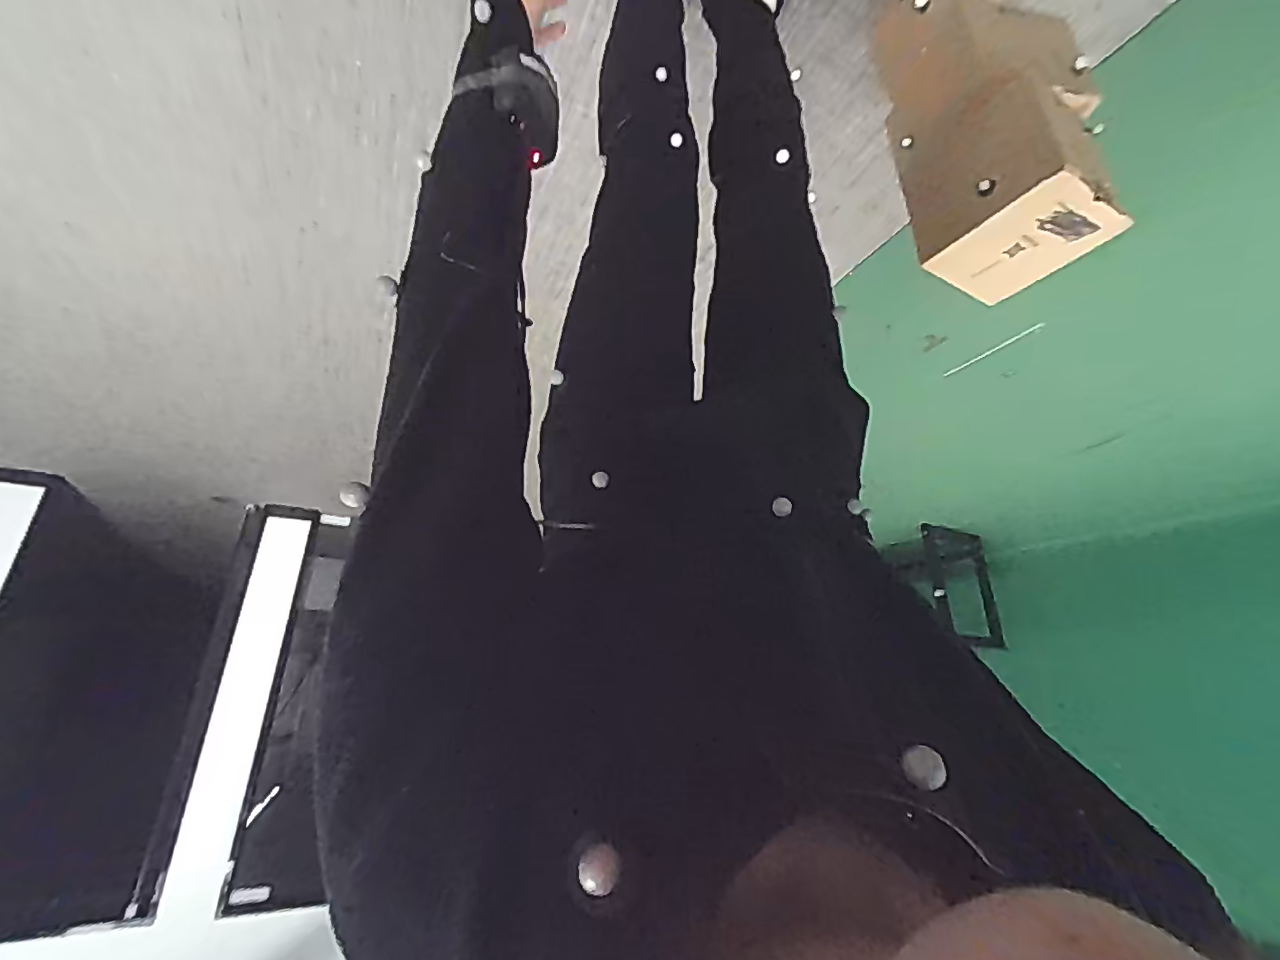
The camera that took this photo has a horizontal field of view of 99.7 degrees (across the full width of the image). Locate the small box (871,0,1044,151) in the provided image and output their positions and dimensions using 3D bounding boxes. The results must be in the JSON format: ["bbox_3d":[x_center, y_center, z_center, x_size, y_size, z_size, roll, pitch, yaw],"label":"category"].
[{"bbox_3d":[0.488,-0.675,0.847,0.179,0.176,0.168,17,153,-34],"label":"small box"}]

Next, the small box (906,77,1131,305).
[{"bbox_3d":[0.487,-0.373,0.717,0.168,0.176,0.179,12,156,-27],"label":"small box"}]
